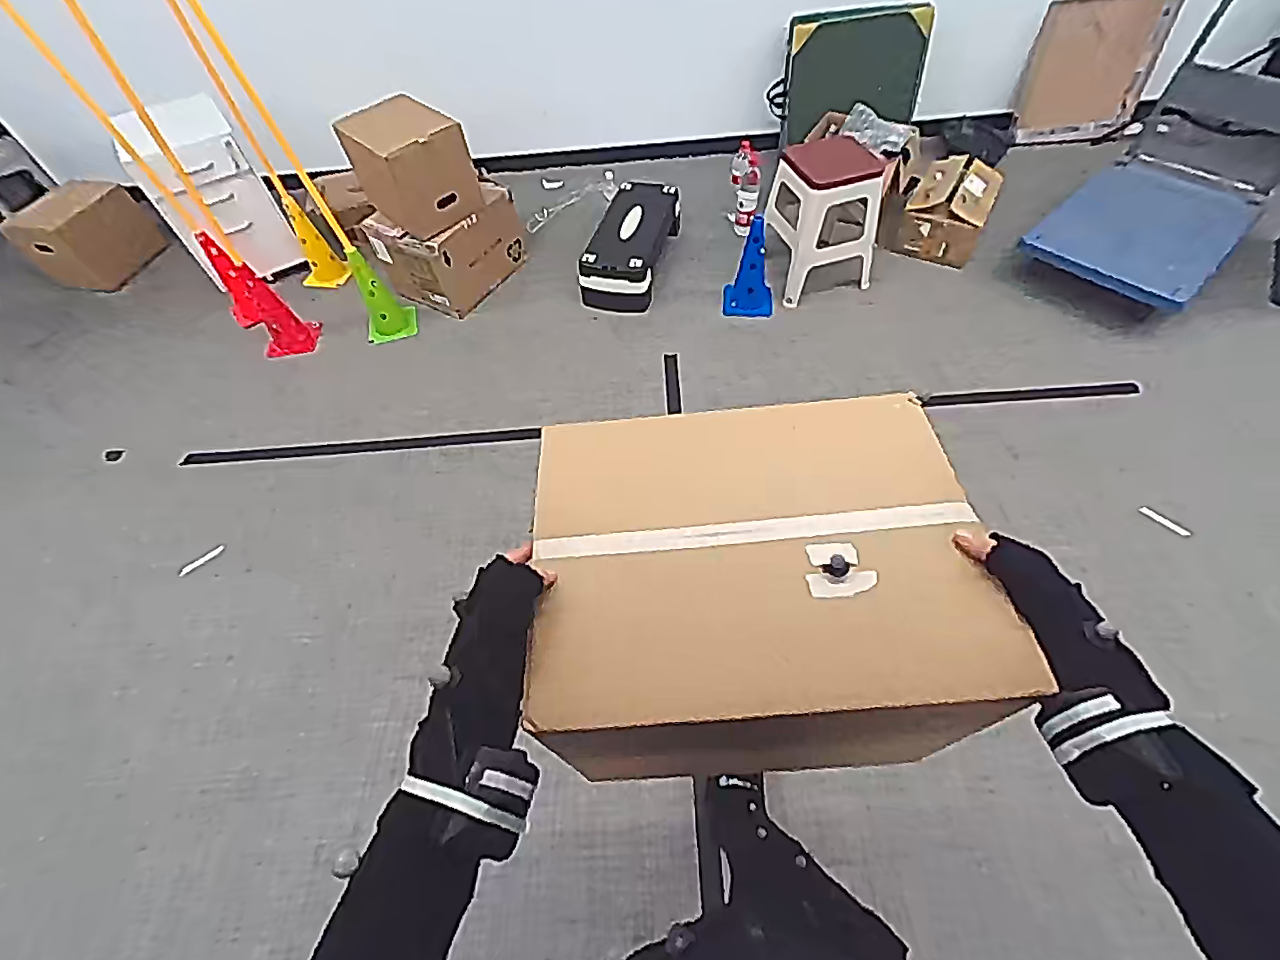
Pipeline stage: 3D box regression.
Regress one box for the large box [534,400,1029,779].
[{"bbox_3d":[0.112,0.141,0.634,0.408,0.320,0.320,-5,54,2],"label":"large box"}]
